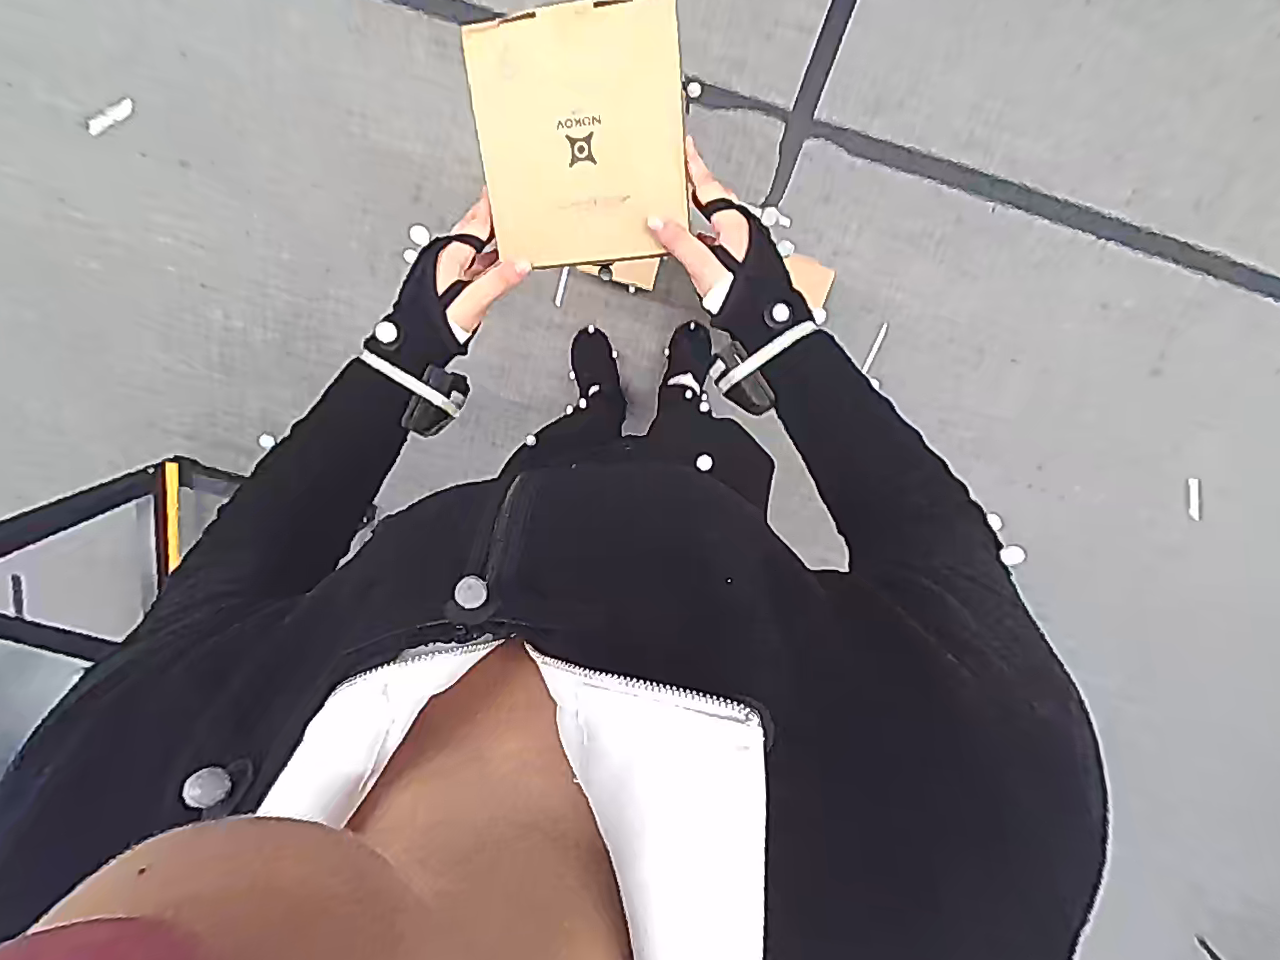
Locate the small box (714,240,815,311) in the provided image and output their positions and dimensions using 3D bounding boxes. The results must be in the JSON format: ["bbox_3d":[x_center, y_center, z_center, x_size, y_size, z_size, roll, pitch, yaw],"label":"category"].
[{"bbox_3d":[0.279,-0.440,1.257,0.168,0.176,0.179,18,112,-6],"label":"small box"}]

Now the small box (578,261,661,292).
[{"bbox_3d":[-0.033,-0.537,1.226,0.179,0.176,0.168,15,111,-3],"label":"small box"}]

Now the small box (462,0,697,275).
[{"bbox_3d":[-0.035,-0.290,0.490,0.168,0.176,0.179,-3,114,9],"label":"small box"}]

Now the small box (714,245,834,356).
[{"bbox_3d":[0.261,-0.368,1.108,0.179,0.176,0.168,16,111,-5],"label":"small box"}]
